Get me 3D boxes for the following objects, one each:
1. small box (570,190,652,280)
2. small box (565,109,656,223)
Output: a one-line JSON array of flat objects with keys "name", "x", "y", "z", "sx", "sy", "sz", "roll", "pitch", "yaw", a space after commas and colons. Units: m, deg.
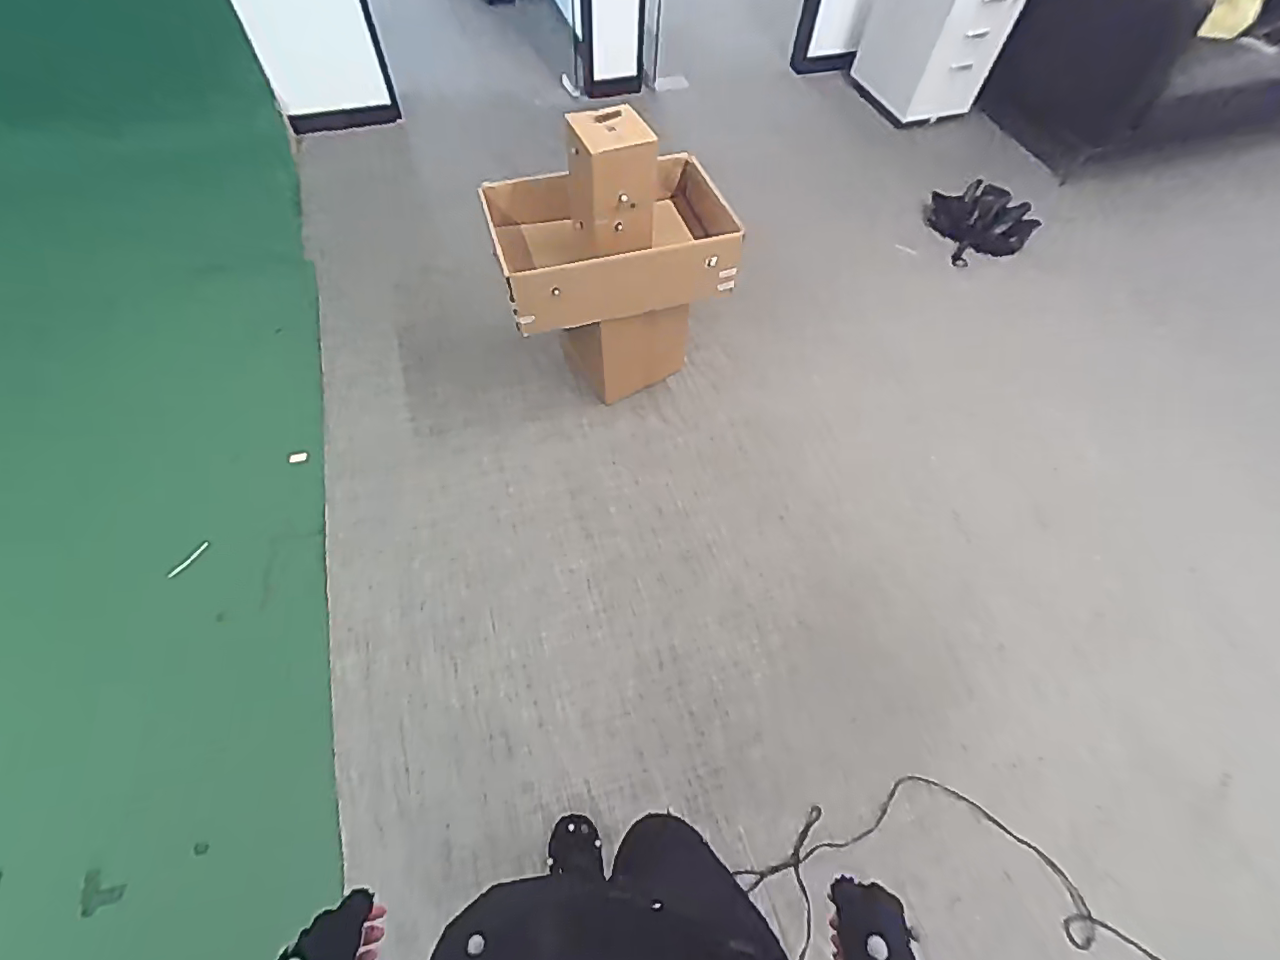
[{"name": "small box", "x": -0.079, "y": -0.674, "z": 1.458, "sx": 0.168, "sy": 0.176, "sz": 0.179, "roll": -22, "pitch": 61, "yaw": -13}, {"name": "small box", "x": -0.073, "y": -0.762, "z": 1.319, "sx": 0.168, "sy": 0.176, "sz": 0.179, "roll": -20, "pitch": 62, "yaw": -13}]
